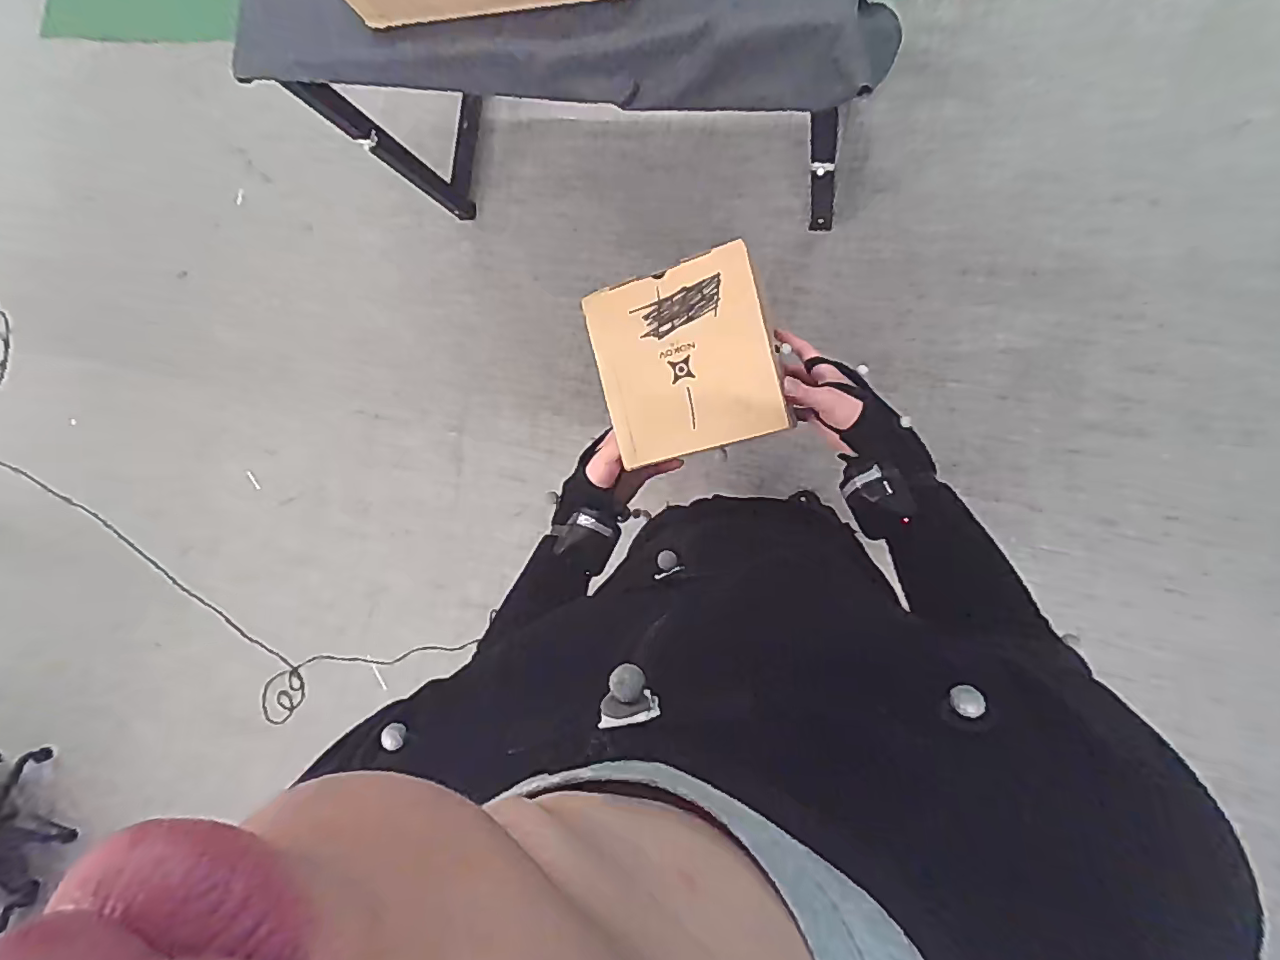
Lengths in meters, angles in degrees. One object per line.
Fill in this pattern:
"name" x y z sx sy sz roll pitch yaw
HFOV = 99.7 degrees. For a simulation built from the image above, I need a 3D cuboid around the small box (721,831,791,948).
"small box" 0.311 1.074 1.435 0.168 0.176 0.179 -3 91 19
